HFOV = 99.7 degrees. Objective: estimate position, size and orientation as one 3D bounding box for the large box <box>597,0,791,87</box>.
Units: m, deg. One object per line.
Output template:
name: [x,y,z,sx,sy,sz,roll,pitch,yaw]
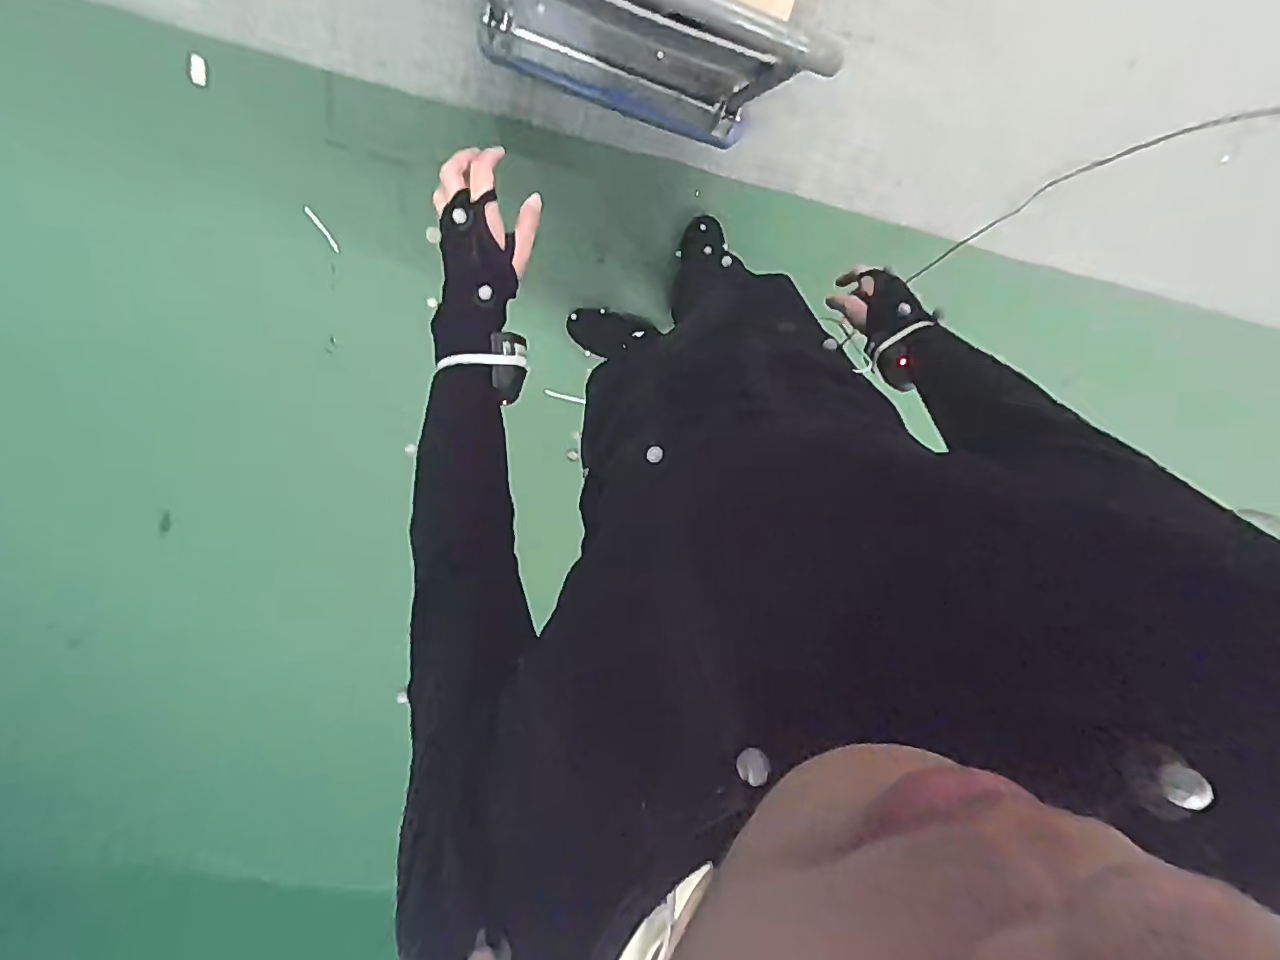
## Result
large box: [0.115,-0.975,0.914,0.320,0.320,0.408,12,112,-11]
